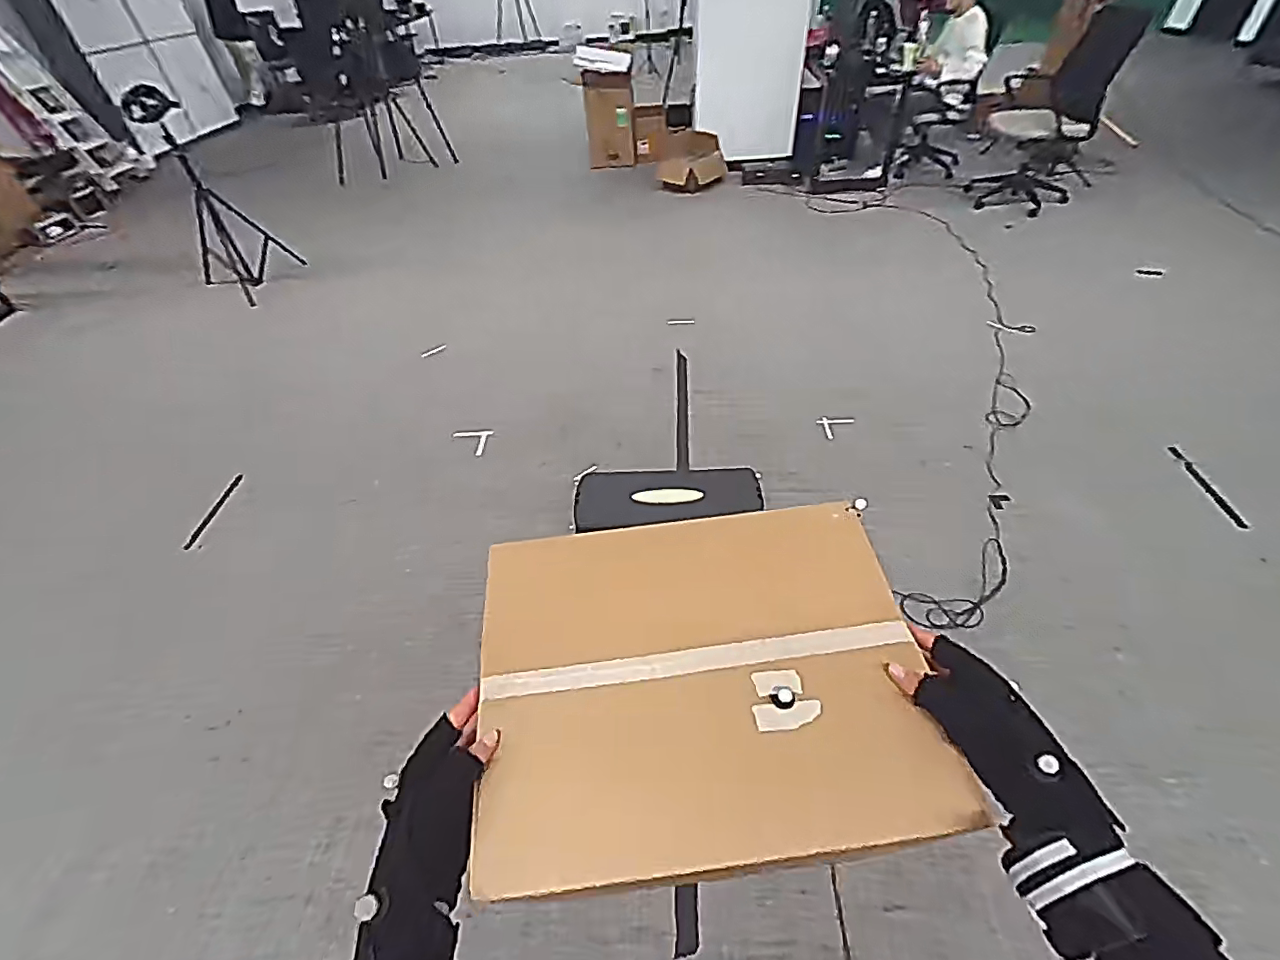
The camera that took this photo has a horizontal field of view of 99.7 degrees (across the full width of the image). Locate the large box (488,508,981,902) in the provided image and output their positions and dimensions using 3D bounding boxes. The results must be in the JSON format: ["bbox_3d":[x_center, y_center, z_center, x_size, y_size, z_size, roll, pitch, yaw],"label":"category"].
[{"bbox_3d":[0.065,0.266,0.628,0.408,0.320,0.320,-6,52,-2],"label":"large box"}]
